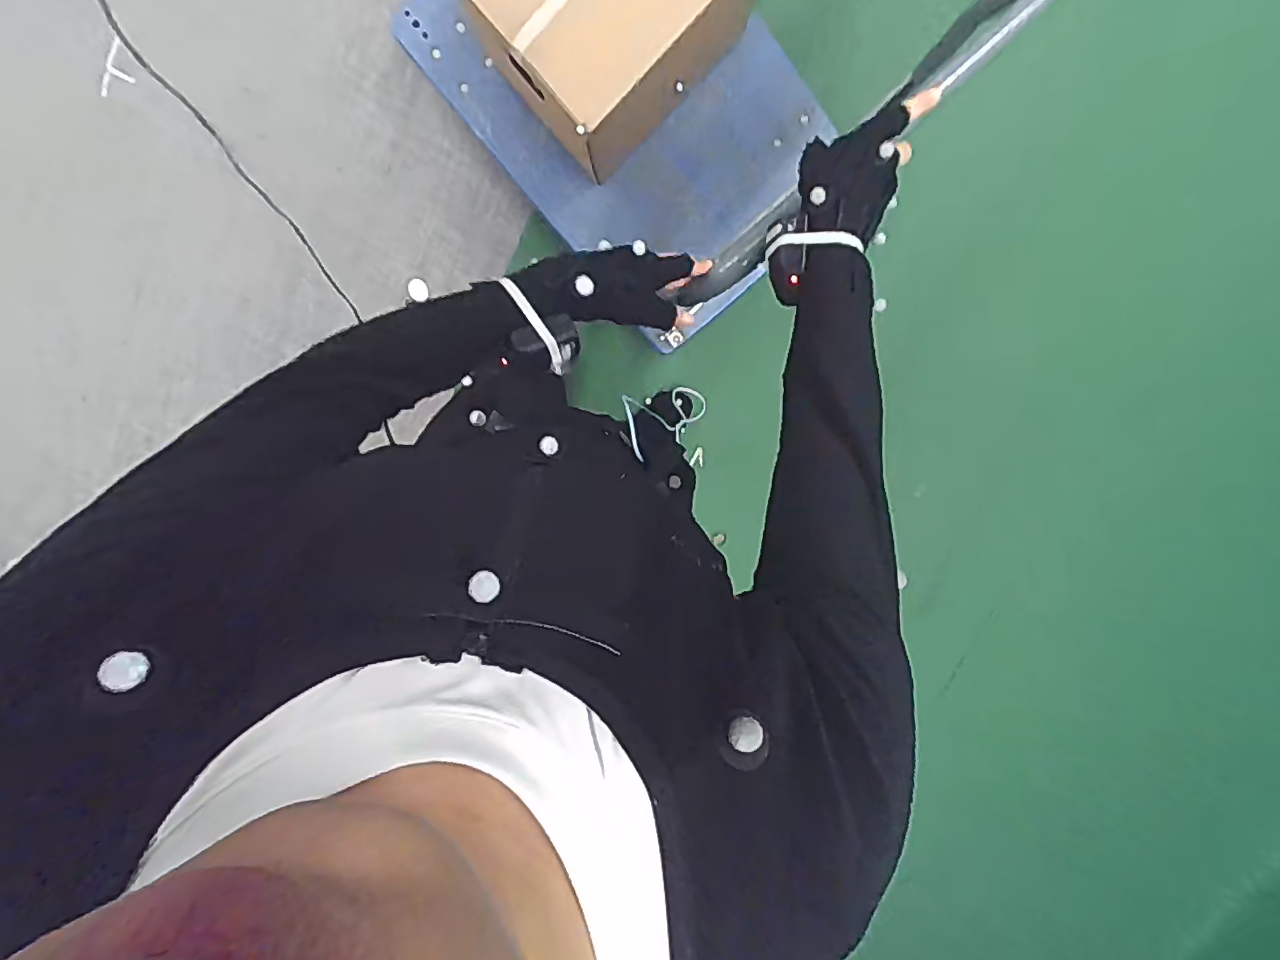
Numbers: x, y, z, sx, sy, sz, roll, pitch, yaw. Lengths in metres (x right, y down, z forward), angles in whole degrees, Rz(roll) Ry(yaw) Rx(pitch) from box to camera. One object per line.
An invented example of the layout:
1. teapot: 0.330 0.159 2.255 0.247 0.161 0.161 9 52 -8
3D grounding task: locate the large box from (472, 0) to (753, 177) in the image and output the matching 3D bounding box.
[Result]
1. large box: -0.033 -0.835 0.942 0.408 0.320 0.320 -42 101 10
